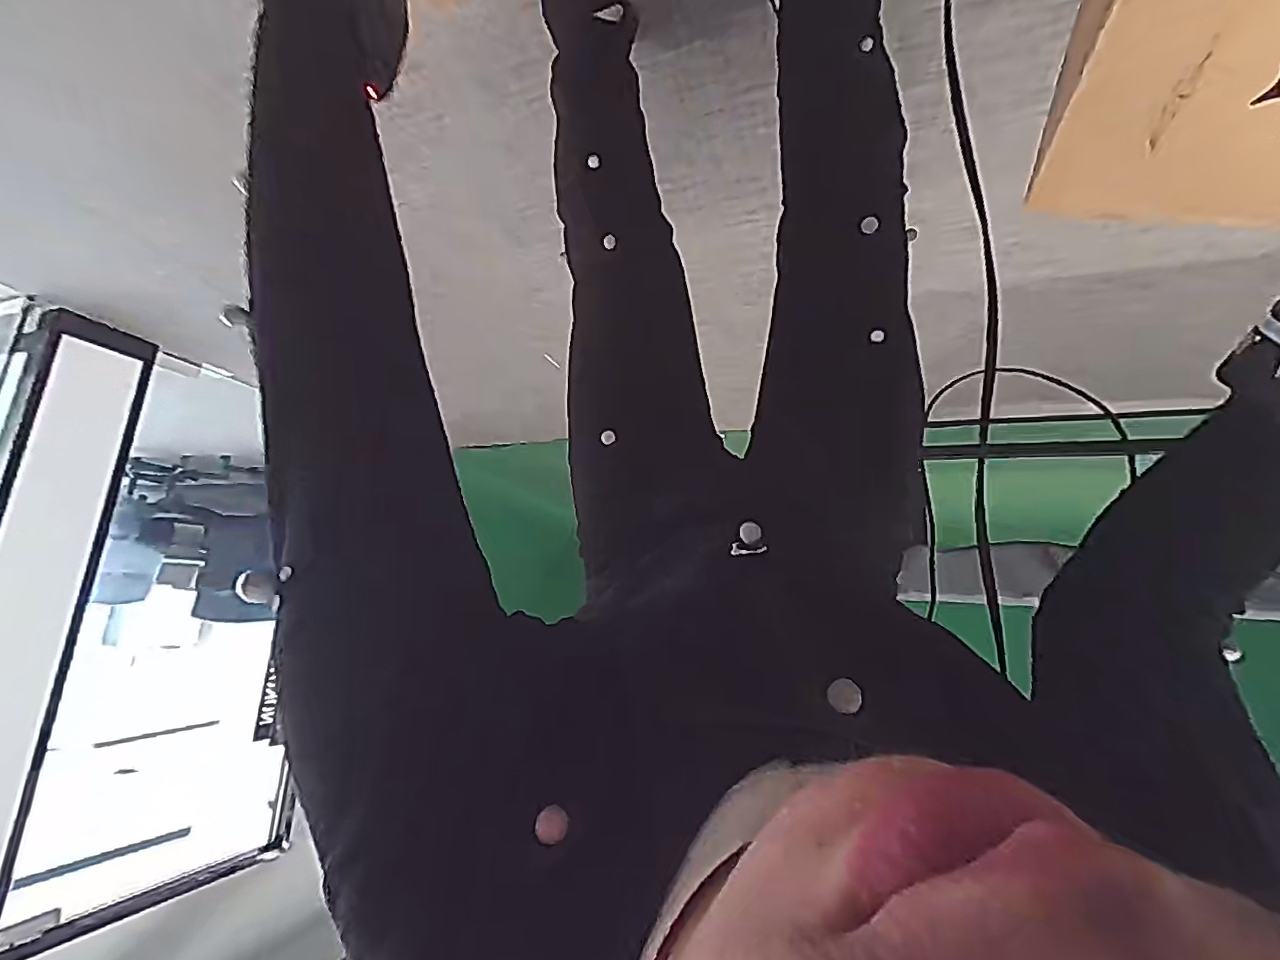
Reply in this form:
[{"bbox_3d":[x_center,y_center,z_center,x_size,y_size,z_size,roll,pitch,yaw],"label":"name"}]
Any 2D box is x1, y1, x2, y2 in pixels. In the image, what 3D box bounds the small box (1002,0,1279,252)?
[{"bbox_3d":[0.313,-0.239,0.256,0.179,0.176,0.168,18,165,22],"label":"small box"}]
